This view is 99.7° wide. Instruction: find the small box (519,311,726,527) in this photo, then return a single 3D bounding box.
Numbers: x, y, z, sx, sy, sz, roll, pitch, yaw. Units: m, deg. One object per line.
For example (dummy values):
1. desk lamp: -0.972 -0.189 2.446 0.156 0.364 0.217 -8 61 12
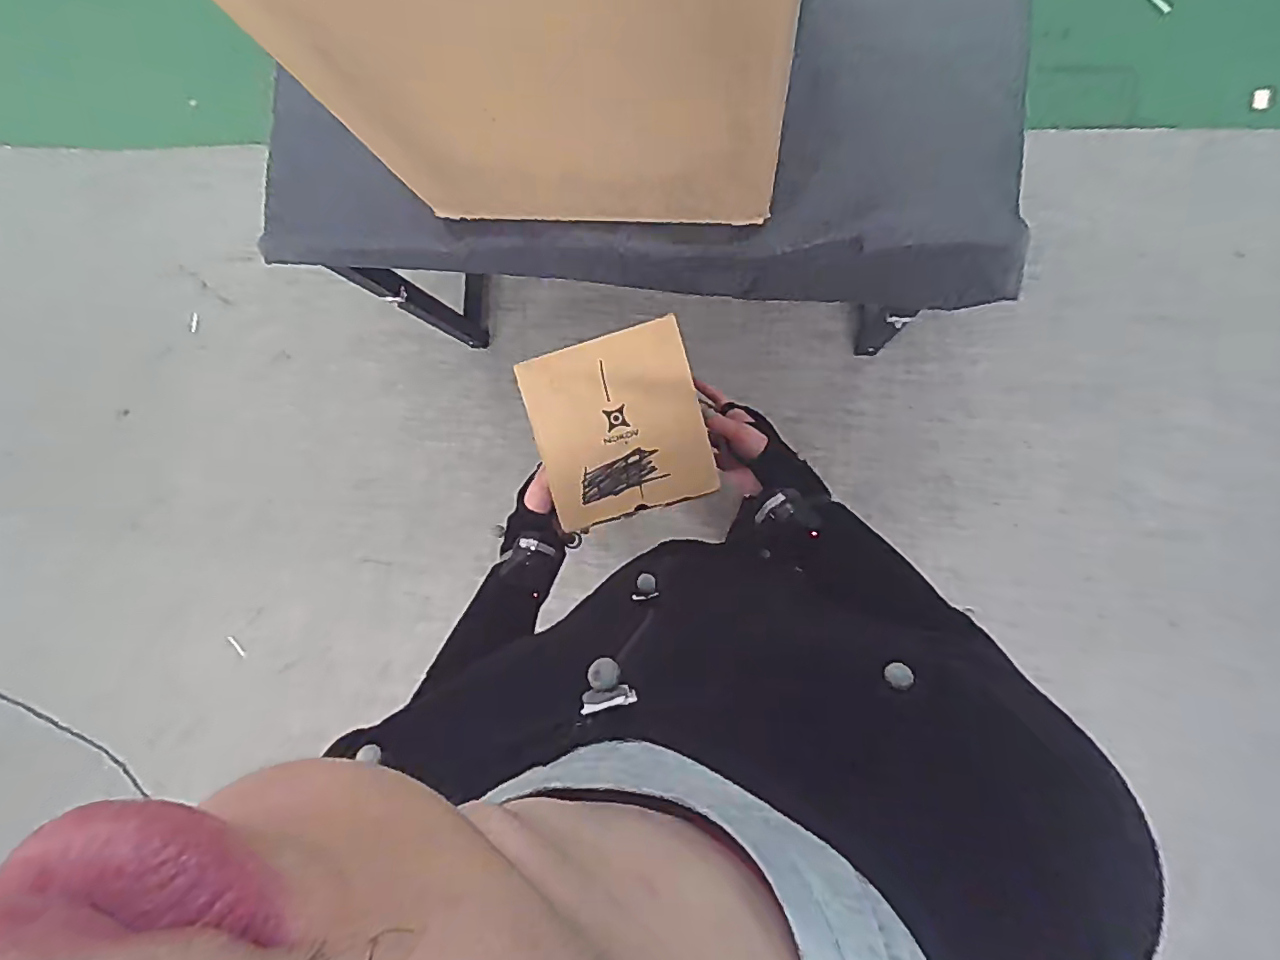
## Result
1. small box: -0.009 -0.066 0.599 0.168 0.176 0.179 -17 95 7
